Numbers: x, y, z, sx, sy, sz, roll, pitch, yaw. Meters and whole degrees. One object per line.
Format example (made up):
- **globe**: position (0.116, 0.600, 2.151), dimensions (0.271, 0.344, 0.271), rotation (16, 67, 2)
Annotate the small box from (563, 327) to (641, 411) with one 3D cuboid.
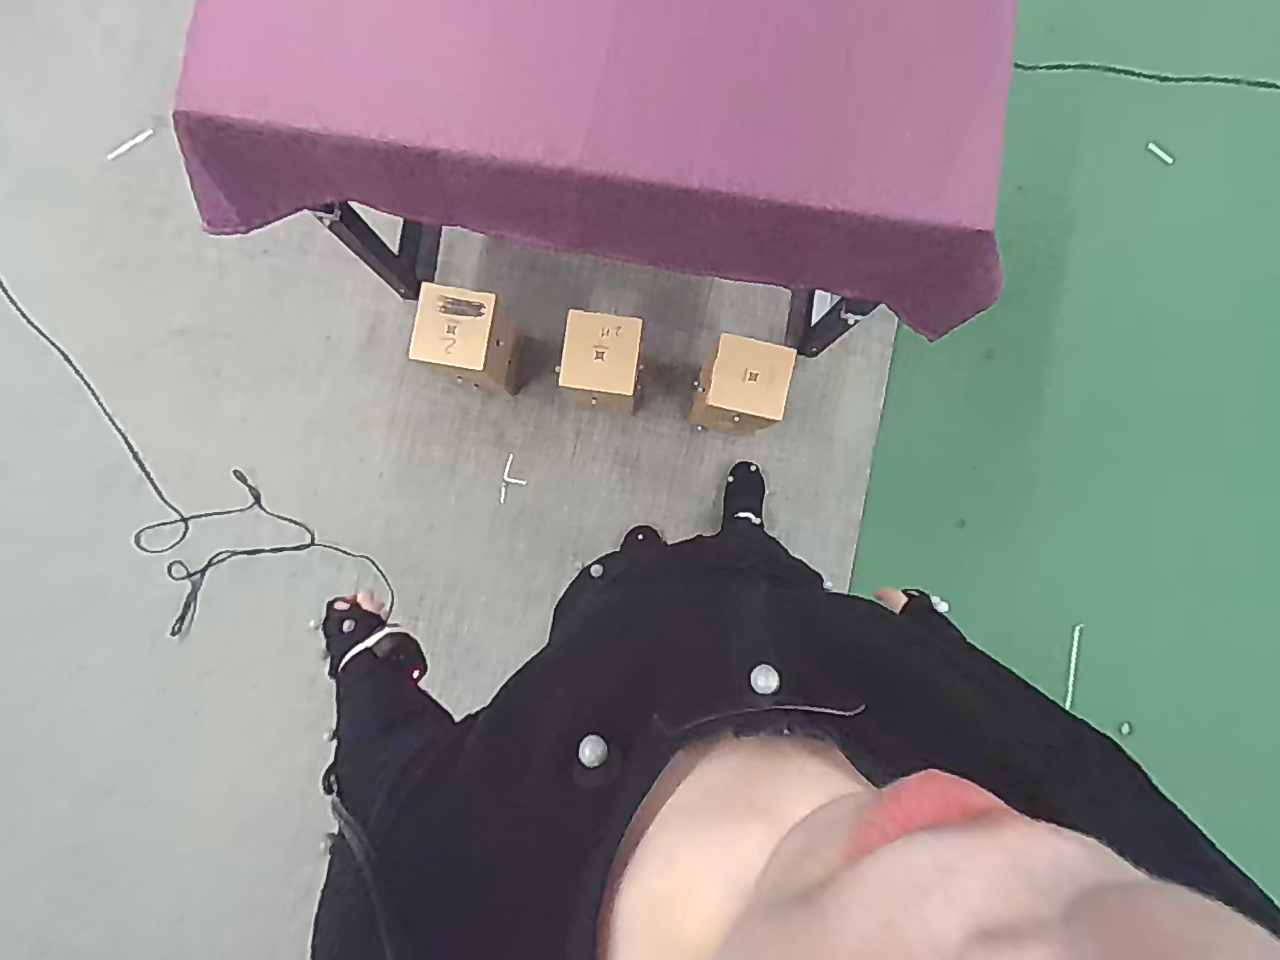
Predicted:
- **small box**: position (-0.096, -0.287, 1.436), dimensions (0.179, 0.176, 0.168), rotation (10, 87, -1)
